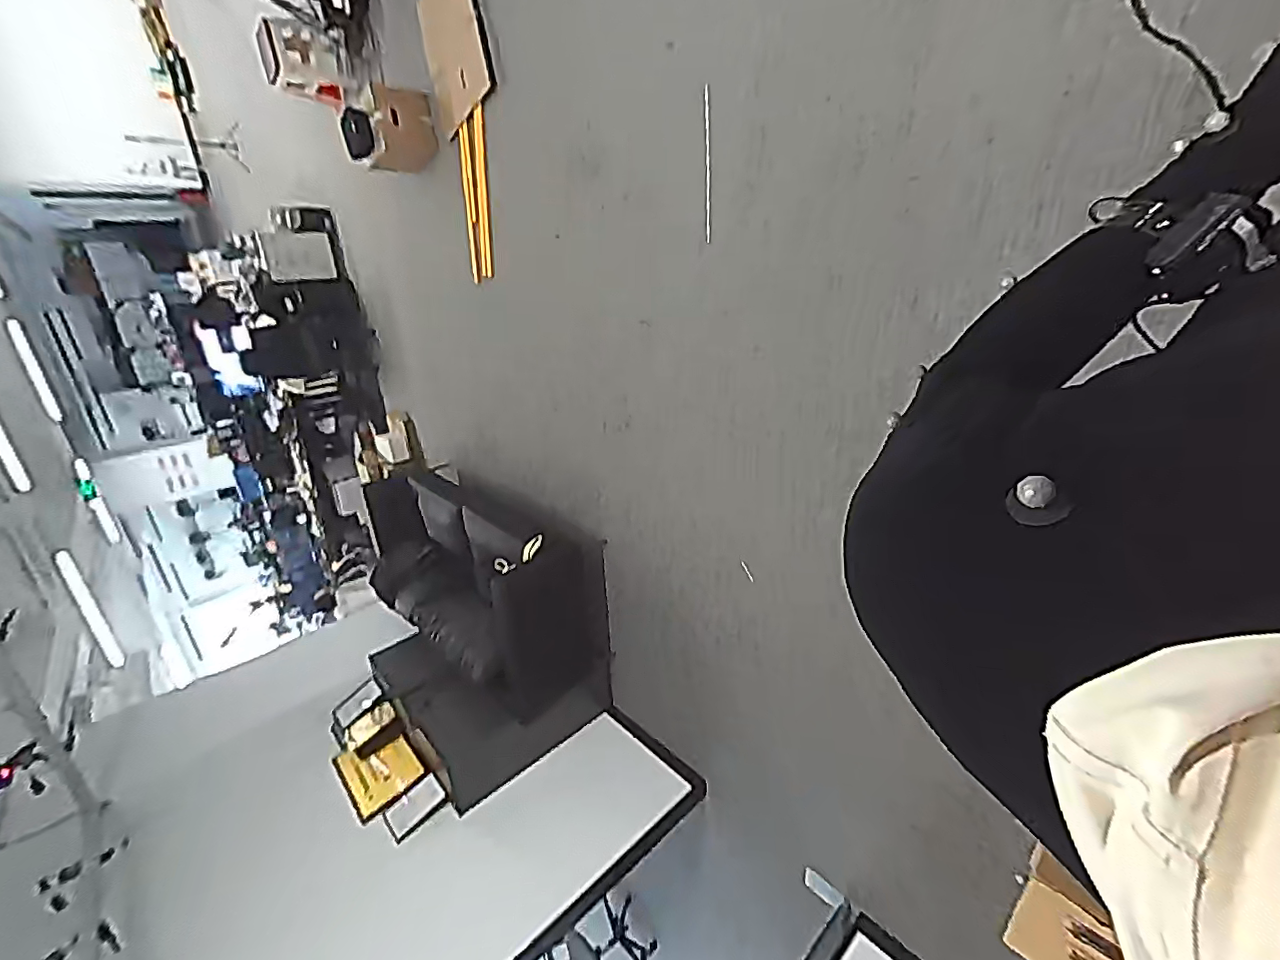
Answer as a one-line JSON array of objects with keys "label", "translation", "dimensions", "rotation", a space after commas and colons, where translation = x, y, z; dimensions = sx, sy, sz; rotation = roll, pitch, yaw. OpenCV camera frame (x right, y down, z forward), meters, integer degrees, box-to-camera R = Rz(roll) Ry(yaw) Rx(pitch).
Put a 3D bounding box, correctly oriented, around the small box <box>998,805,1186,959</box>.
[{"label": "small box", "translation": [0.682, 0.646, 0.818], "dimensions": [0.168, 0.176, 0.179], "rotation": [25, 125, 43]}]
